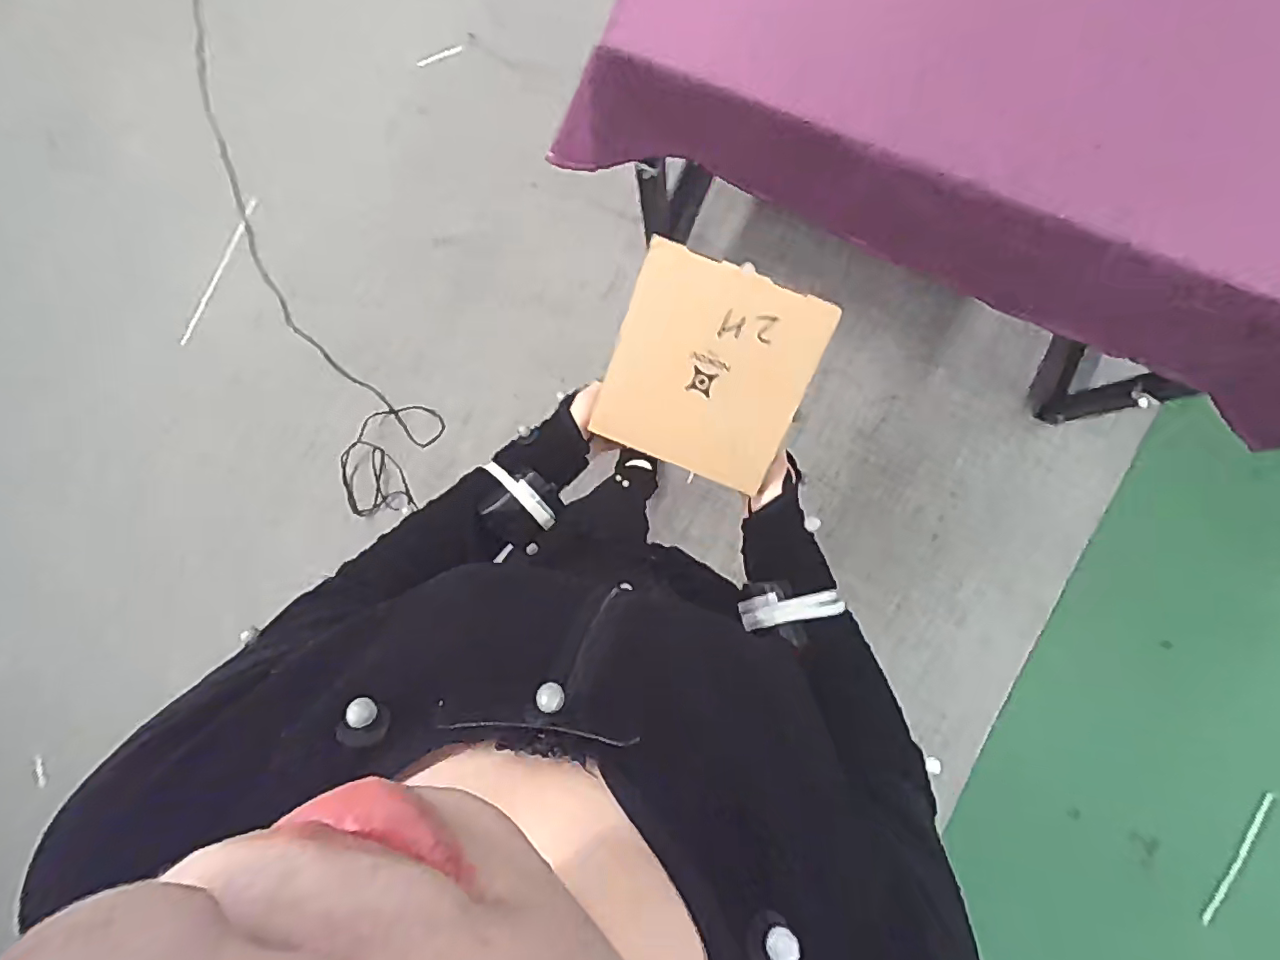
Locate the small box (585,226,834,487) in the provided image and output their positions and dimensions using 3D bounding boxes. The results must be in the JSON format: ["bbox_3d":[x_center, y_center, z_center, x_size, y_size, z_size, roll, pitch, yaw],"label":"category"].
[{"bbox_3d":[0.065,-0.121,0.537,0.168,0.176,0.179,22,108,1],"label":"small box"}]
